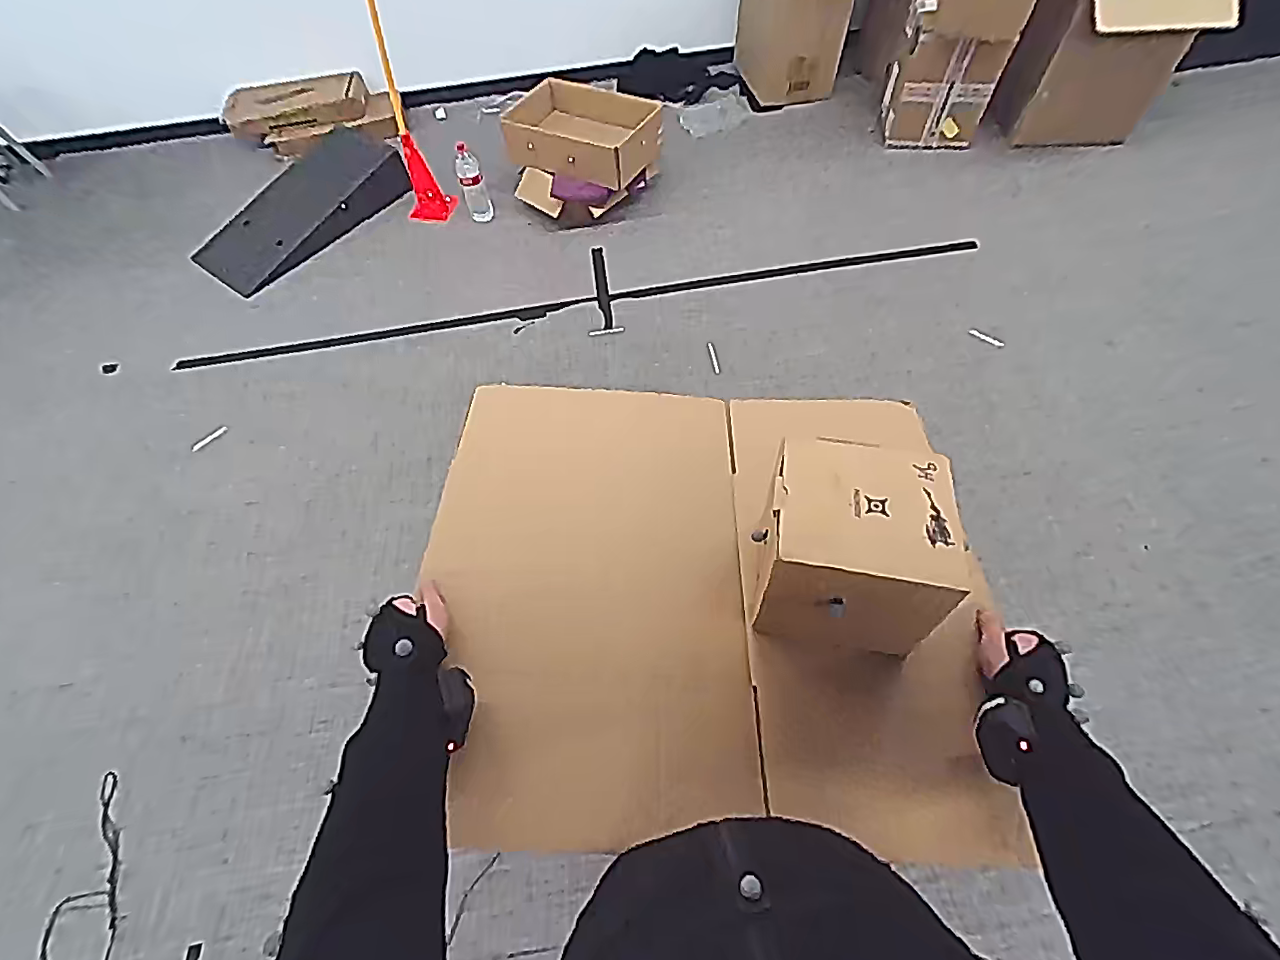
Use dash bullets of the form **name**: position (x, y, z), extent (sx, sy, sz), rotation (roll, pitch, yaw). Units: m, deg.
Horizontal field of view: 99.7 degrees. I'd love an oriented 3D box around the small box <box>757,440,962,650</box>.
- **small box**: position (0.233, 0.078, 0.618), extent (0.179, 0.176, 0.168), rotation (8, 53, 9)
